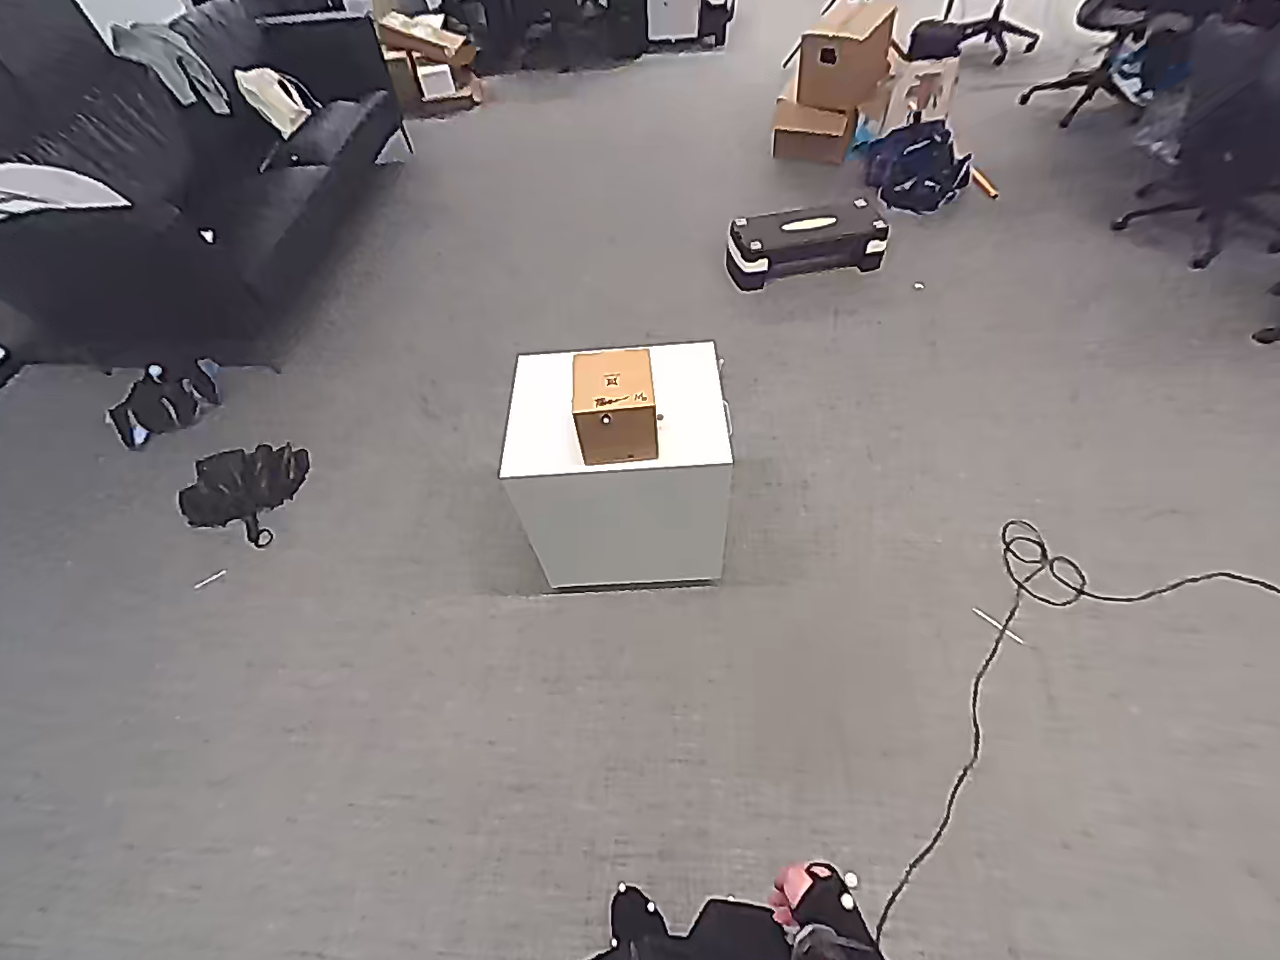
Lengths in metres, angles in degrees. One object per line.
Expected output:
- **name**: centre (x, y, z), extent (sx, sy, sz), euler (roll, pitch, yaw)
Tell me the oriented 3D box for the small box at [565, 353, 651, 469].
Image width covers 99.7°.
- **small box**: centre (-0.066, -0.147, 1.164), extent (0.168, 0.176, 0.179), euler (-6, 52, 0)
